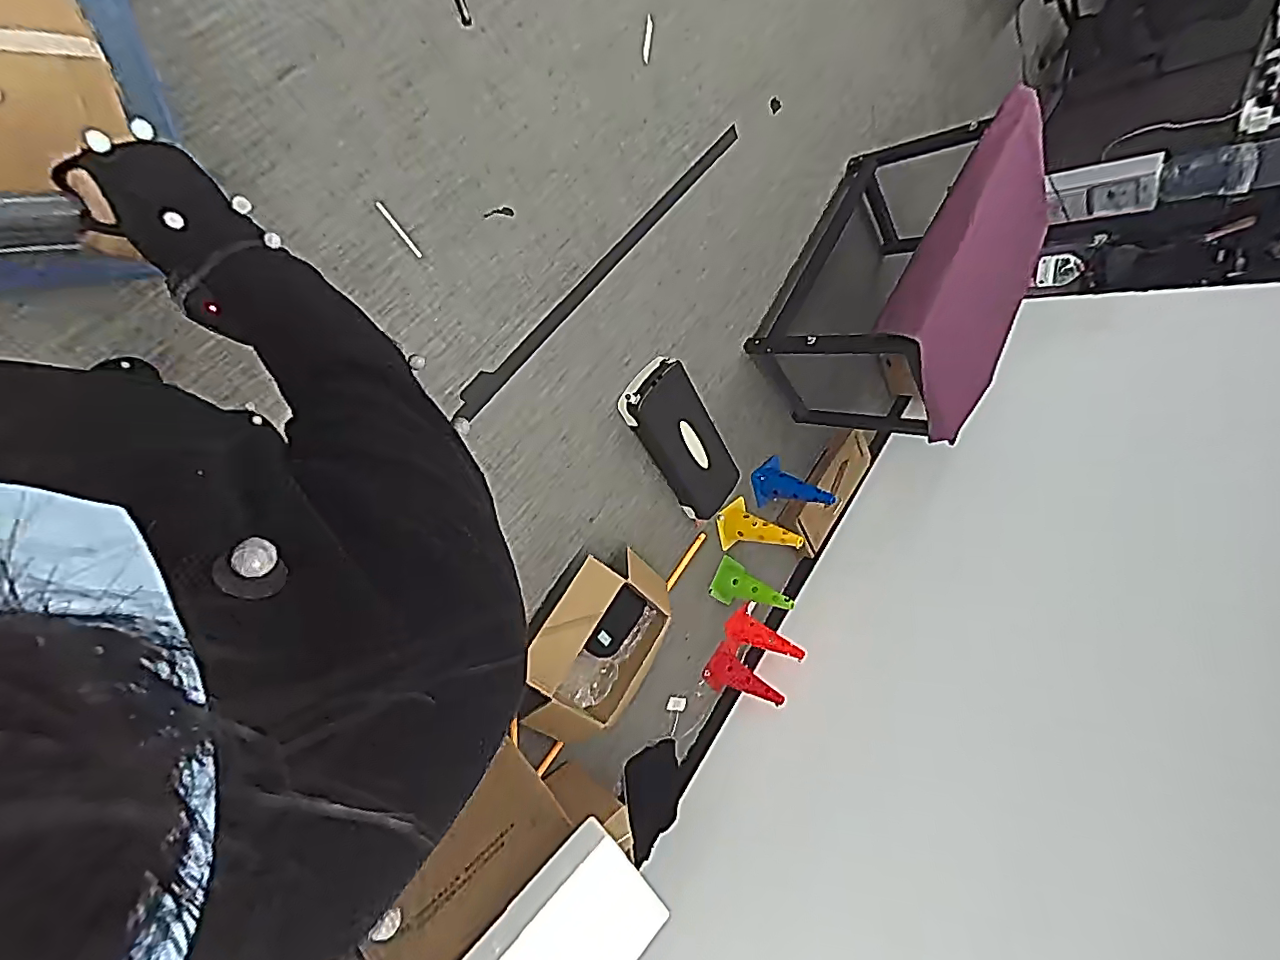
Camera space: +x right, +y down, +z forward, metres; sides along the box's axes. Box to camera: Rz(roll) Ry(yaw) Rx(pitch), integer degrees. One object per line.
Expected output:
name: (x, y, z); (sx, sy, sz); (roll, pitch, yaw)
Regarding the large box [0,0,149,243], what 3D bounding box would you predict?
large box: (-0.924, -0.475, 0.663); (0.408, 0.320, 0.320); (-25, 117, -36)
